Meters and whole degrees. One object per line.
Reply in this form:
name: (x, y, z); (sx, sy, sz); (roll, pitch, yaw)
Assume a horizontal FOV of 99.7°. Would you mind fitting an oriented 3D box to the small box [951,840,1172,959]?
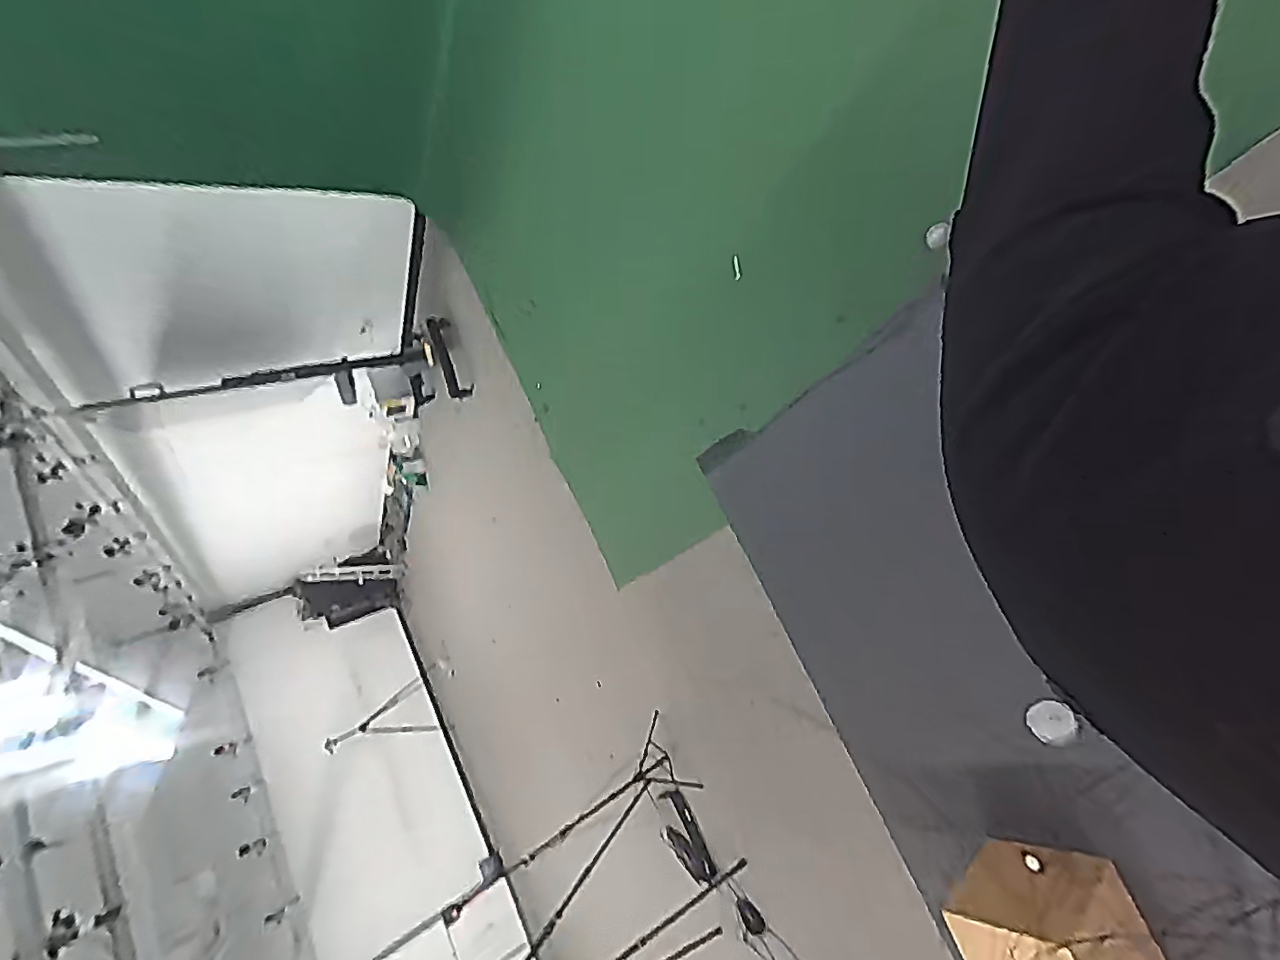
small box: (0.564, 0.625, 0.715); (0.168, 0.176, 0.179); (-38, 72, 53)
